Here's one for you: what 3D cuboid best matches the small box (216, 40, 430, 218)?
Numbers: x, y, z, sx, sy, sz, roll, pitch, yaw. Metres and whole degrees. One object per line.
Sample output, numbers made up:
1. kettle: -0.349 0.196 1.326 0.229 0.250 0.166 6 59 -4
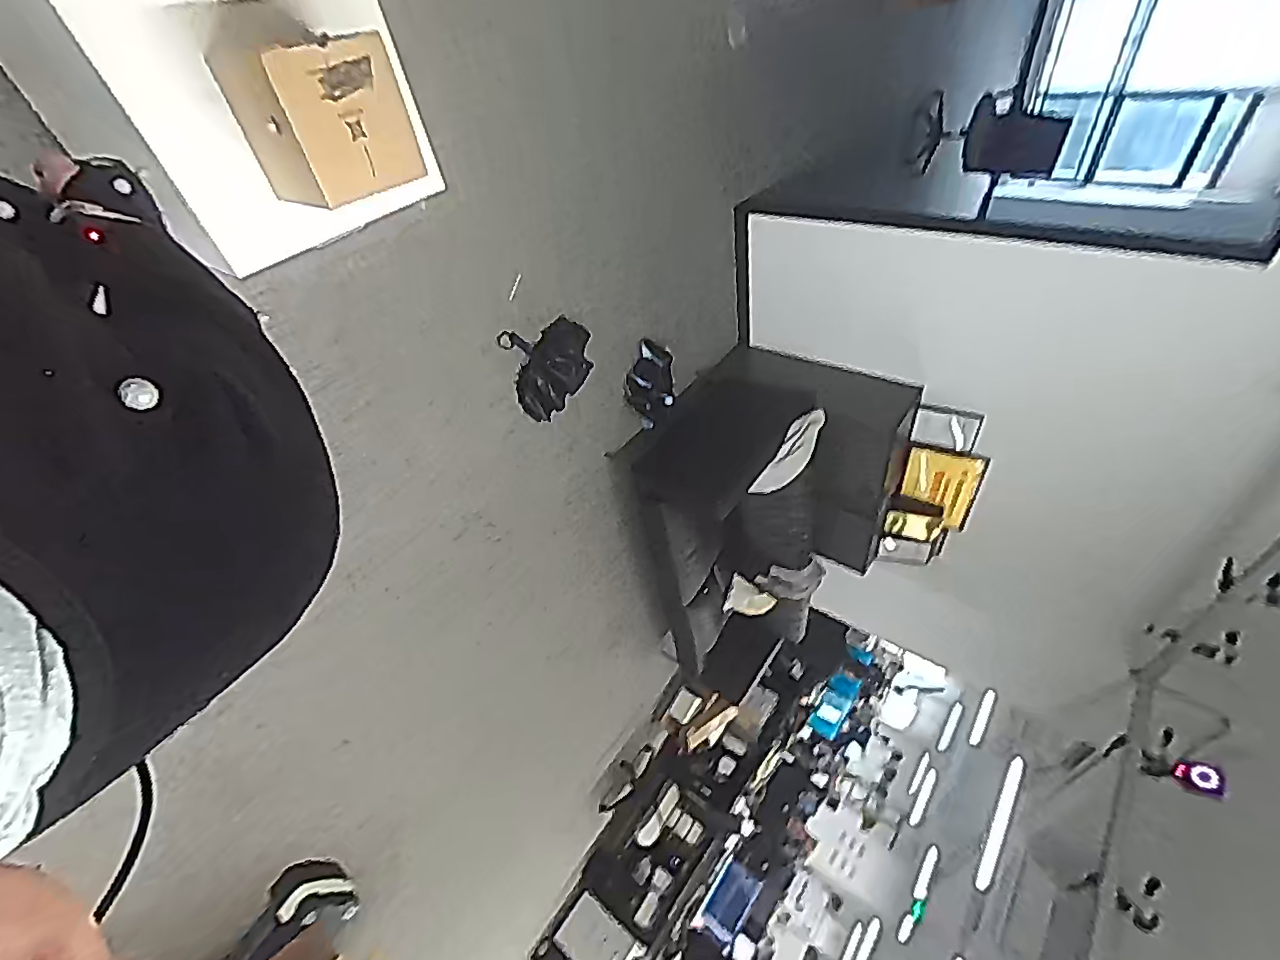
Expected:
1. small box: -0.438 -0.488 0.757 0.168 0.176 0.179 -43 142 -32
